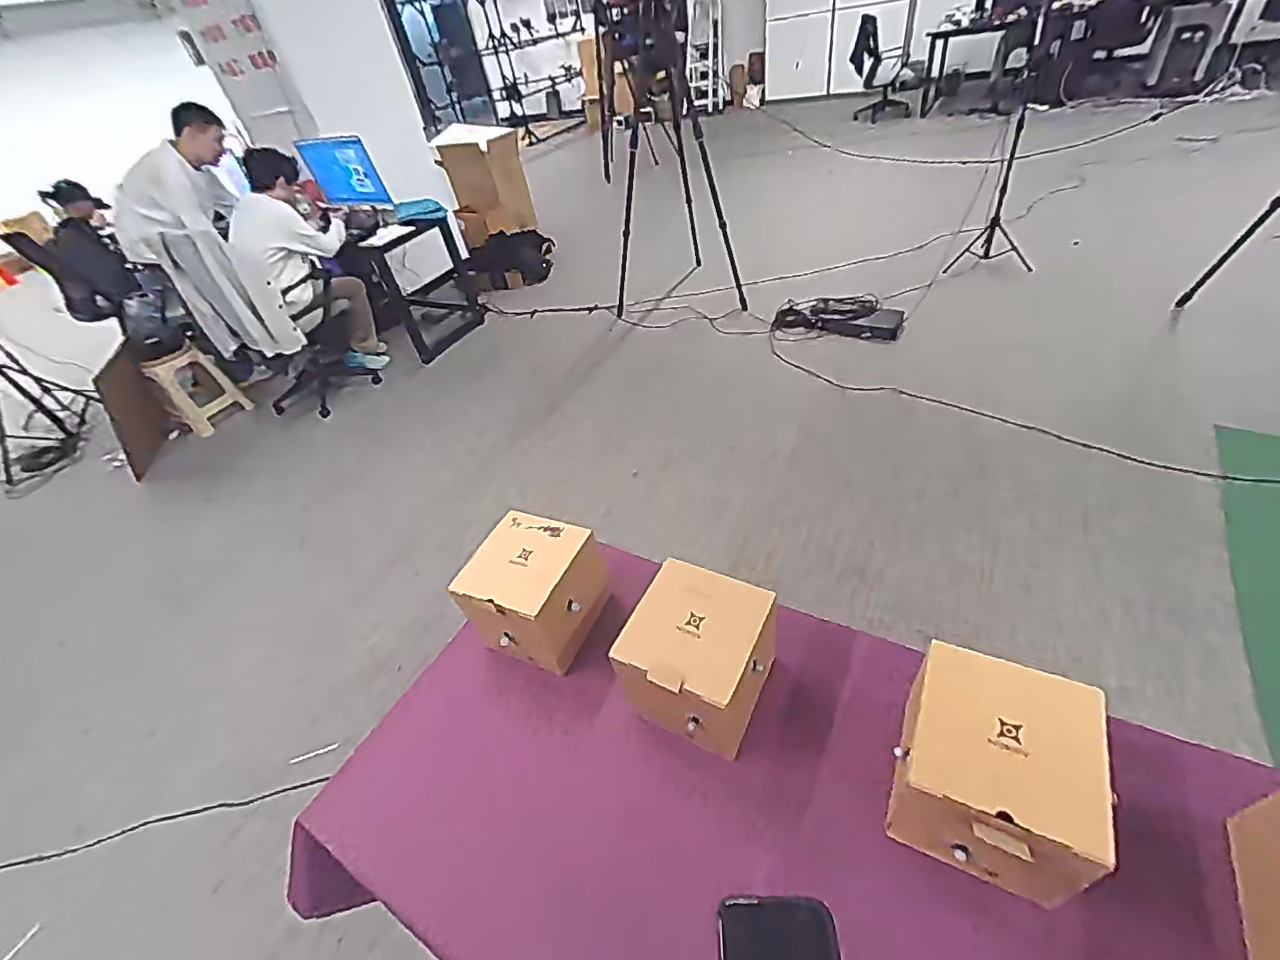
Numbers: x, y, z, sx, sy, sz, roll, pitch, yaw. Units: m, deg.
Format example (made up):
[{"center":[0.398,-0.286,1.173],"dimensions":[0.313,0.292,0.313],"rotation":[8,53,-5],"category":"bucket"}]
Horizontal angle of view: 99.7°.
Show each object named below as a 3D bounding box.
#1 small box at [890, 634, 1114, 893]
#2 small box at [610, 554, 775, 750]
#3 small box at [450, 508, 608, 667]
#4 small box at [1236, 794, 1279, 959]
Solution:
[{"center":[0.389,0.312,0.605],"dimensions":[0.168,0.176,0.179],"rotation":[13,48,26],"category":"small box"},{"center":[0.084,0.241,0.760],"dimensions":[0.168,0.176,0.179],"rotation":[16,49,27],"category":"small box"},{"center":[-0.170,0.177,0.892],"dimensions":[0.168,0.176,0.179],"rotation":[12,48,24],"category":"small box"},{"center":[0.661,0.380,0.454],"dimensions":[0.168,0.176,0.179],"rotation":[14,48,29],"category":"small box"}]
